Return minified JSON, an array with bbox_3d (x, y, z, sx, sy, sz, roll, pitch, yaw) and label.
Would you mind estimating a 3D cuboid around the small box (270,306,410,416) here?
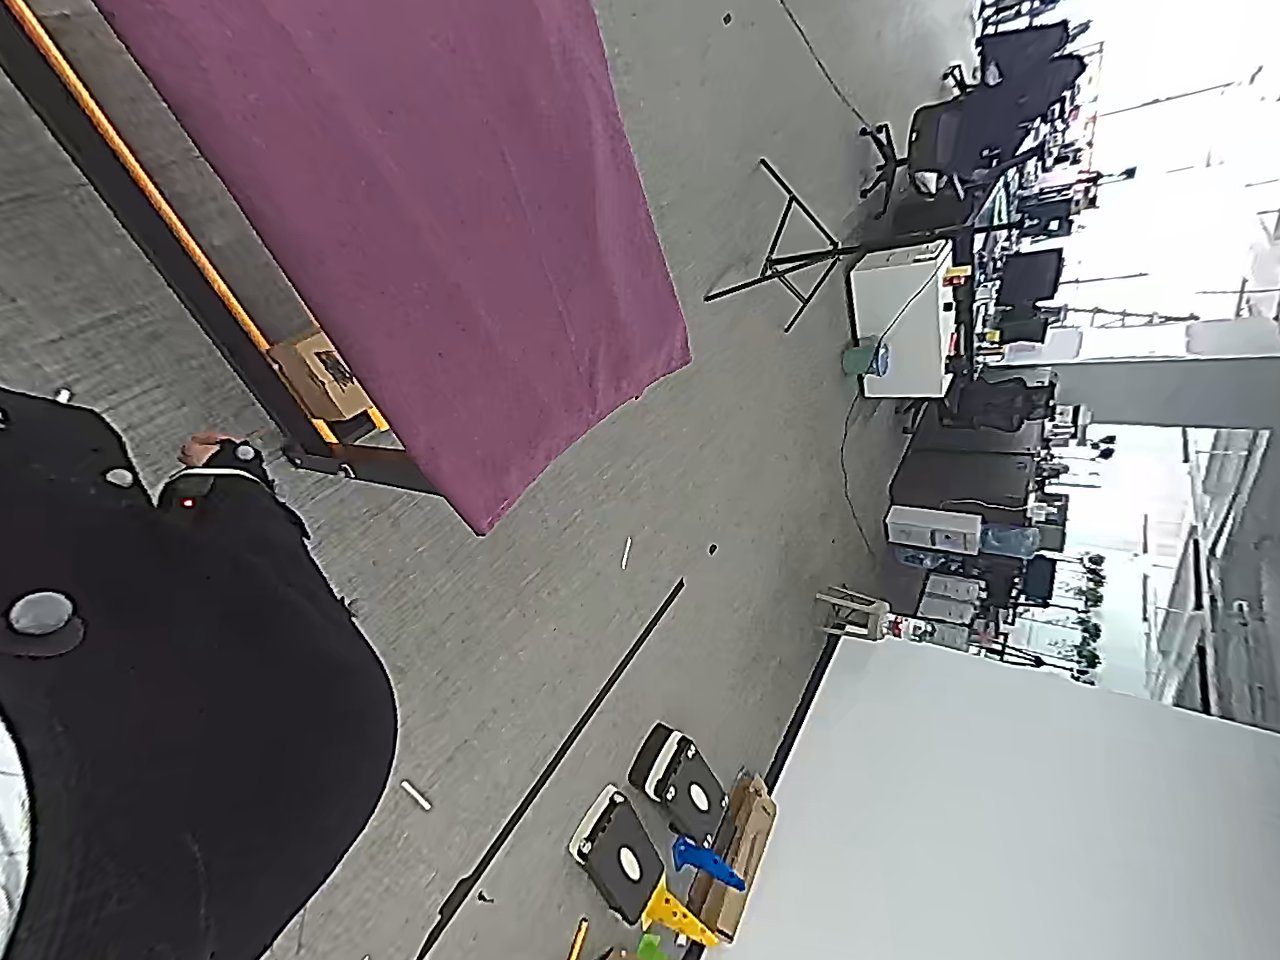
[{"bbox_3d":[-0.629,-0.243,1.125,0.179,0.176,0.168,-47,129,-37],"label":"small box"}]
